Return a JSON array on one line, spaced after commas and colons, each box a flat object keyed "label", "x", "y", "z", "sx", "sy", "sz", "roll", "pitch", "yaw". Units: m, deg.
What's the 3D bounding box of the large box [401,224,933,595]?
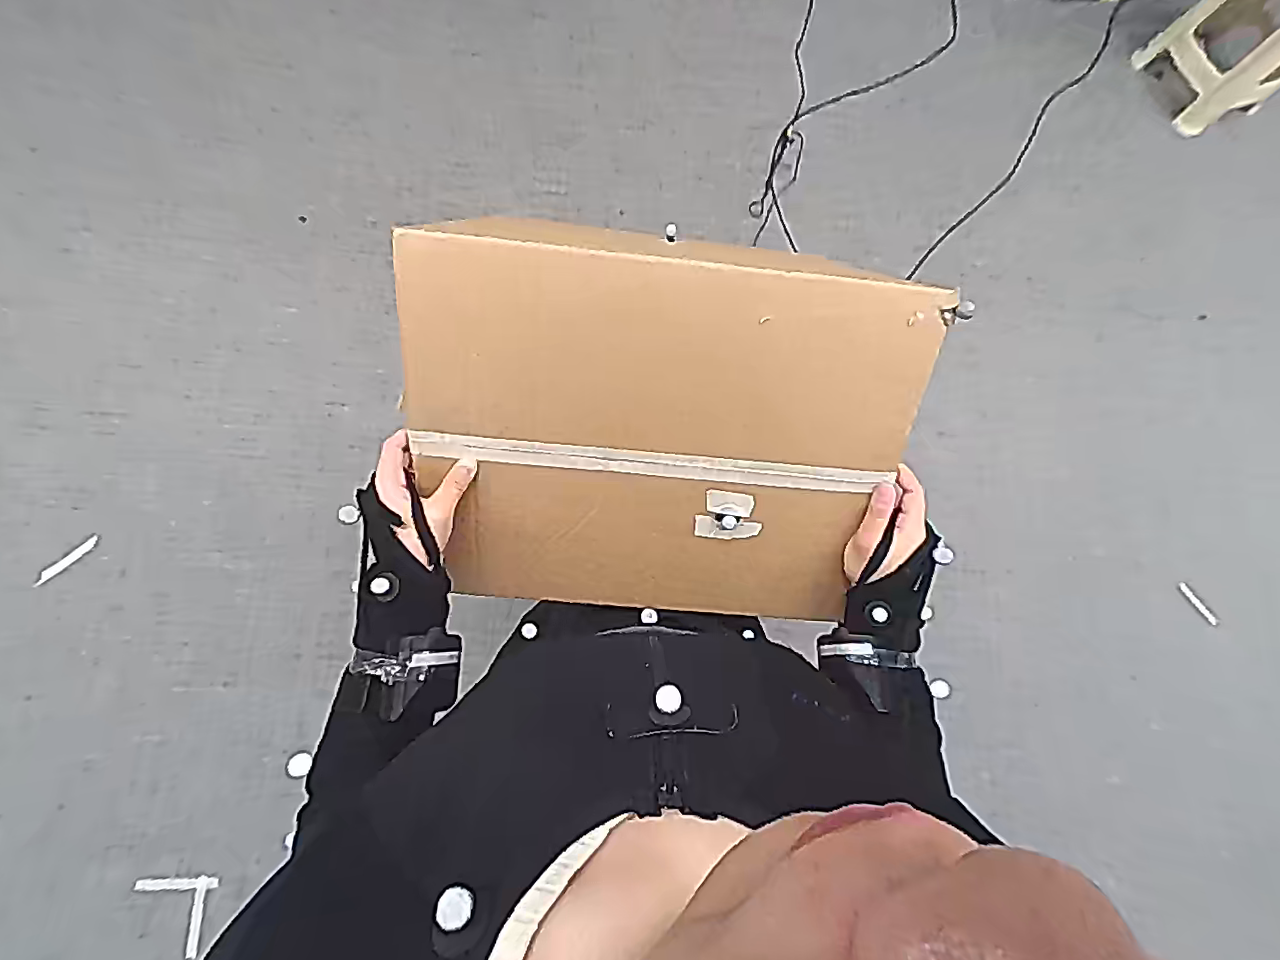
[{"label": "large box", "x": 0.008, "y": -0.096, "z": 0.595, "sx": 0.408, "sy": 0.320, "sz": 0.320, "roll": 4, "pitch": 118, "yaw": -4}]
